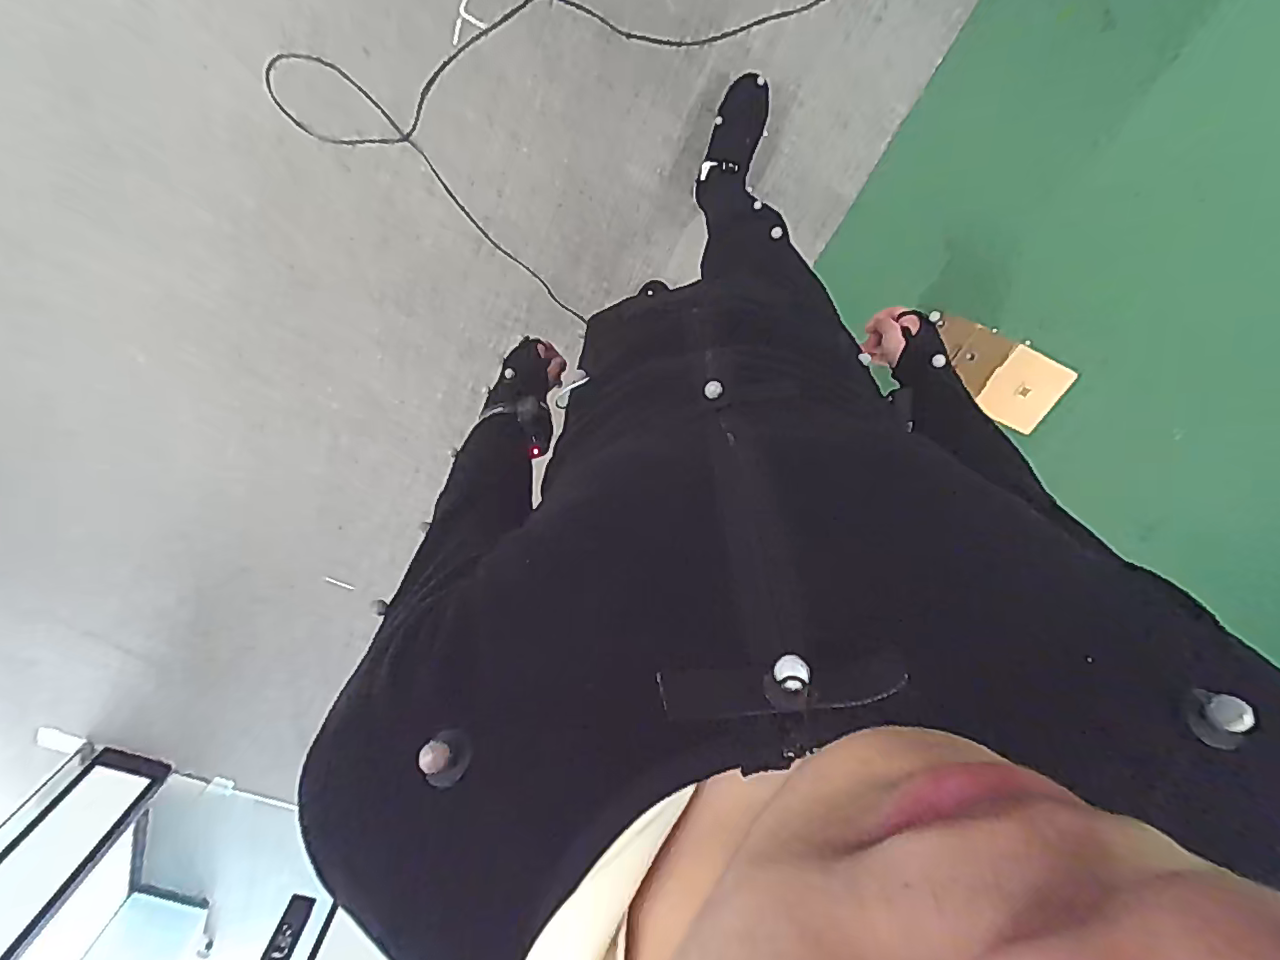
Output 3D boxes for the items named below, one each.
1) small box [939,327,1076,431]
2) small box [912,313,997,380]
[{"bbox_3d":[0.872,-0.248,1.301,0.179,0.176,0.168,22,117,-10],"label":"small box"},{"bbox_3d":[0.869,-0.331,1.442,0.179,0.176,0.168,22,116,-11],"label":"small box"}]
